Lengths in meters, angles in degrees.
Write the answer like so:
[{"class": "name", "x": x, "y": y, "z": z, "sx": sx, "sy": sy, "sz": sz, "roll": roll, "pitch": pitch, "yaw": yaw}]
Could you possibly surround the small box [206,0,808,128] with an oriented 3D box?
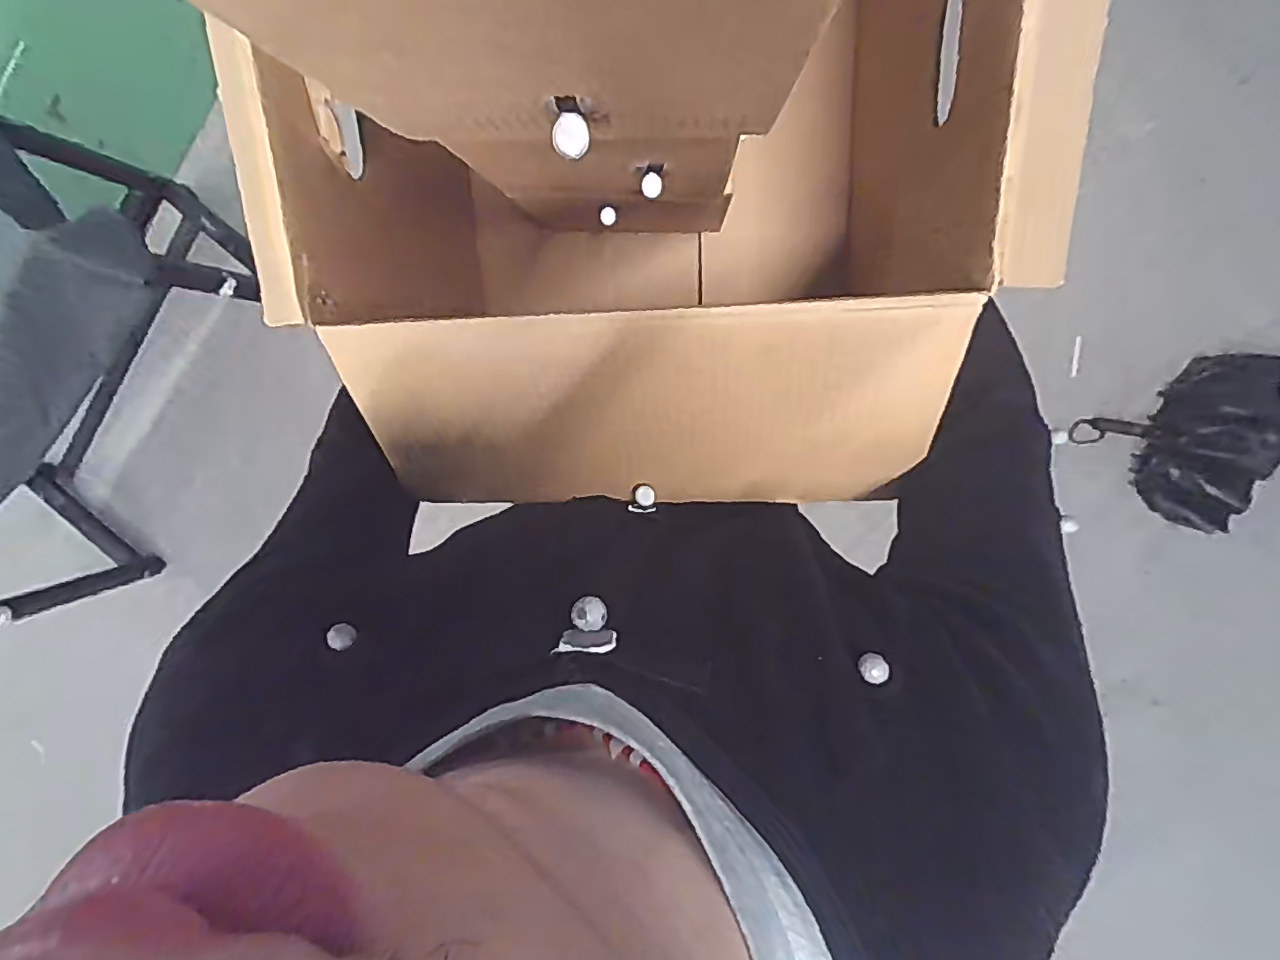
[{"class": "small box", "x": -0.034, "y": -0.214, "z": 0.143, "sx": 0.179, "sy": 0.176, "sz": 0.168, "roll": 1, "pitch": 106, "yaw": 3}]
